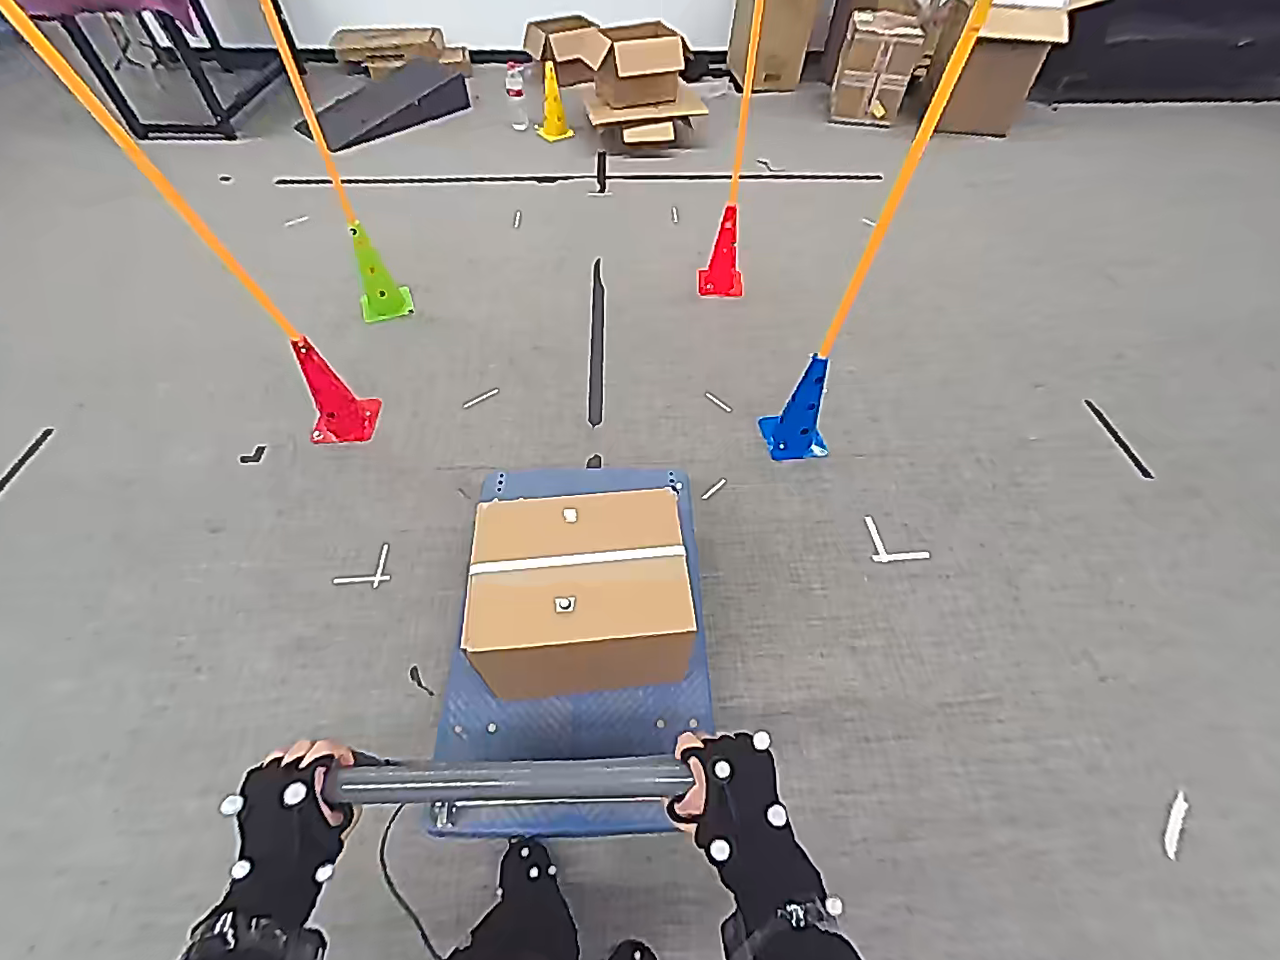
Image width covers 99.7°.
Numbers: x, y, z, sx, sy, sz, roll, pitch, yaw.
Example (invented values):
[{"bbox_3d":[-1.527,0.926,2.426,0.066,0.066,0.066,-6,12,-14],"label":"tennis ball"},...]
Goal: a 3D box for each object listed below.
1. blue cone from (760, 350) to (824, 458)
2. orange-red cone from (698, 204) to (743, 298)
[{"bbox_3d":[0.532,-0.253,1.753,0.193,0.380,0.192,-5,52,-5],"label":"blue cone"},{"bbox_3d":[0.364,-0.978,2.279,0.199,0.360,0.198,4,54,1],"label":"orange-red cone"}]
